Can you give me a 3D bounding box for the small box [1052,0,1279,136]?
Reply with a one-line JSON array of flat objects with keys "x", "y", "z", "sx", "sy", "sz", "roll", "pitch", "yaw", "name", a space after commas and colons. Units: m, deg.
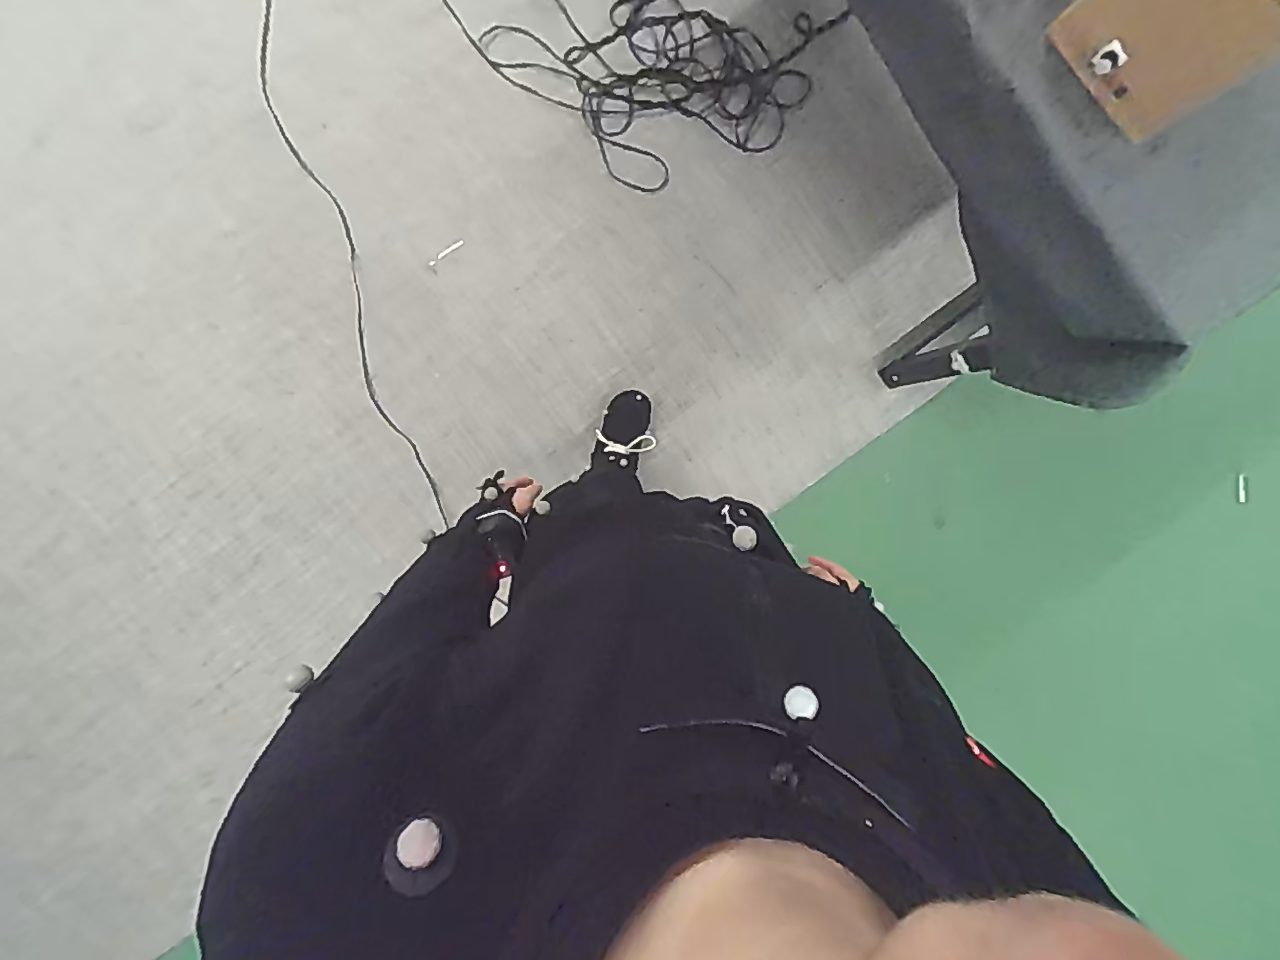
[{"x": 0.568, "y": -0.494, "z": 0.525, "sx": 0.179, "sy": 0.176, "sz": 0.168, "roll": -44, "pitch": 93, "yaw": 2, "name": "small box"}]
